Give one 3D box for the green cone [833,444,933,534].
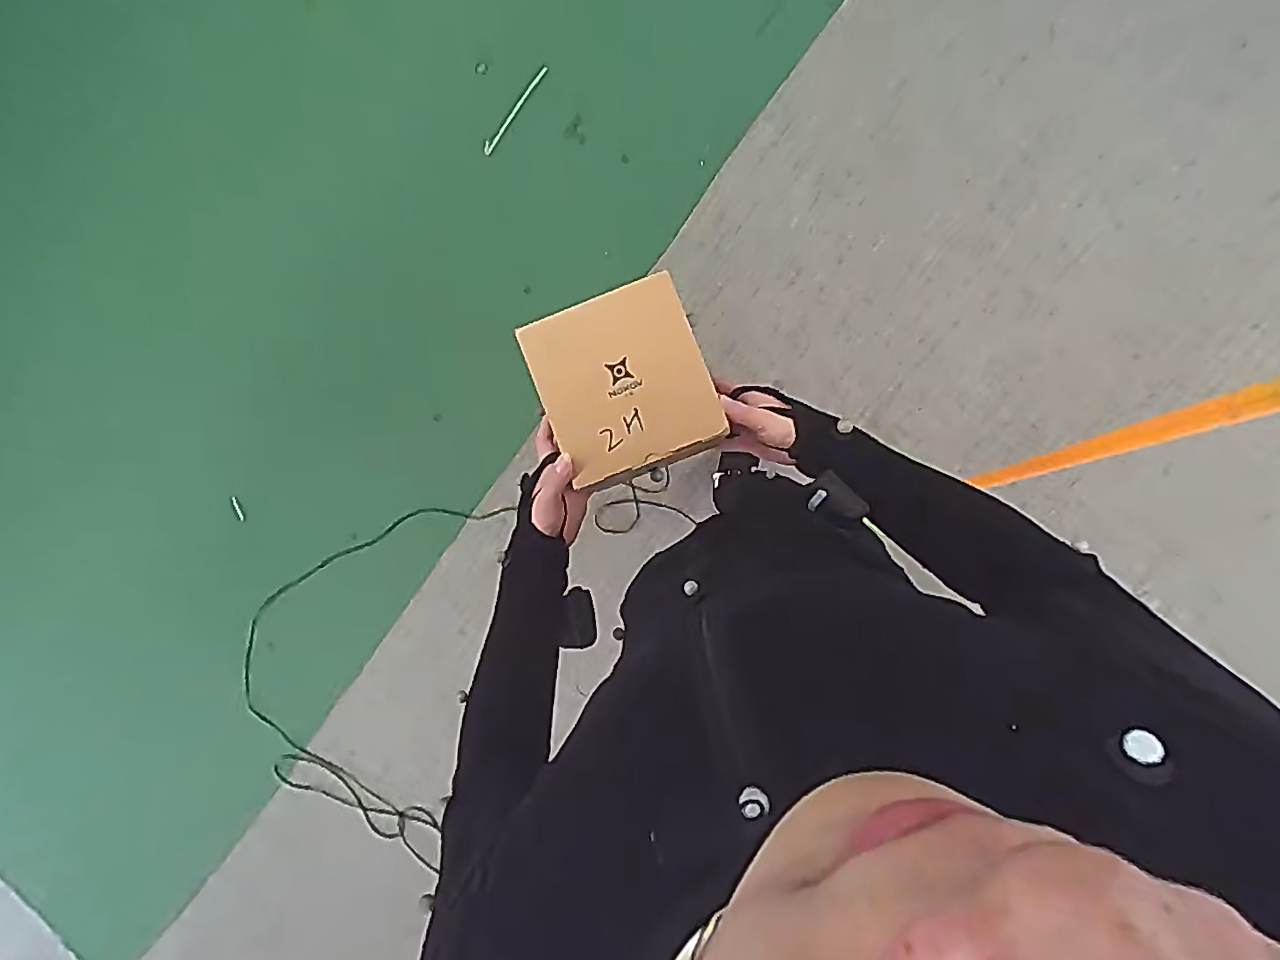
[{"bbox_3d":[0.663,0.032,1.385,0.200,0.368,0.202,39,97,6],"label":"green cone"}]
